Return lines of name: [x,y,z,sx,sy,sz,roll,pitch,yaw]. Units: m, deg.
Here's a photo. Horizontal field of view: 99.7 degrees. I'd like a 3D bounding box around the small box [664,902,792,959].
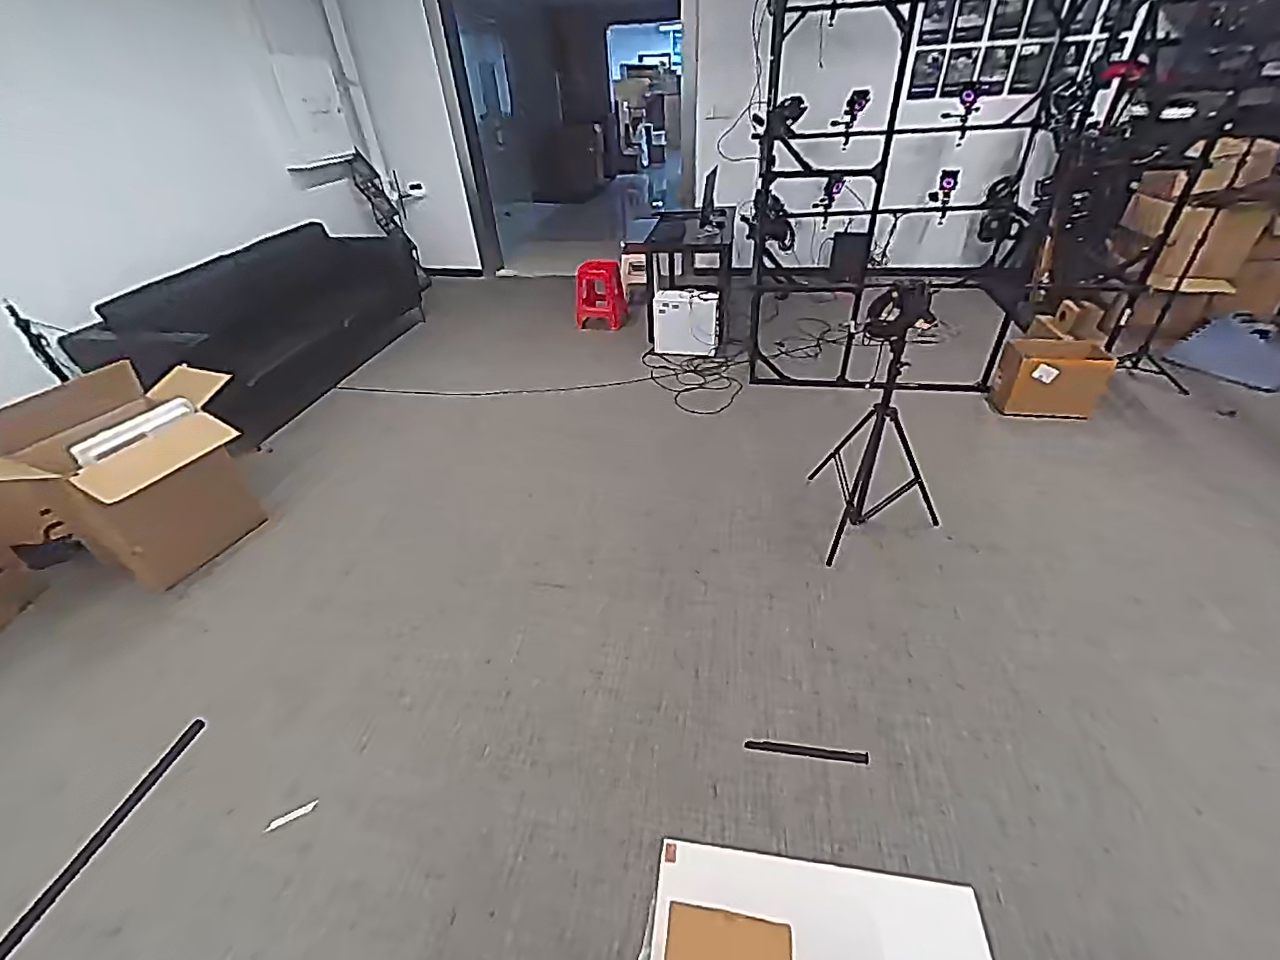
small box: [0.112,0.708,0.719,0.168,0.176,0.179,4,37,10]
